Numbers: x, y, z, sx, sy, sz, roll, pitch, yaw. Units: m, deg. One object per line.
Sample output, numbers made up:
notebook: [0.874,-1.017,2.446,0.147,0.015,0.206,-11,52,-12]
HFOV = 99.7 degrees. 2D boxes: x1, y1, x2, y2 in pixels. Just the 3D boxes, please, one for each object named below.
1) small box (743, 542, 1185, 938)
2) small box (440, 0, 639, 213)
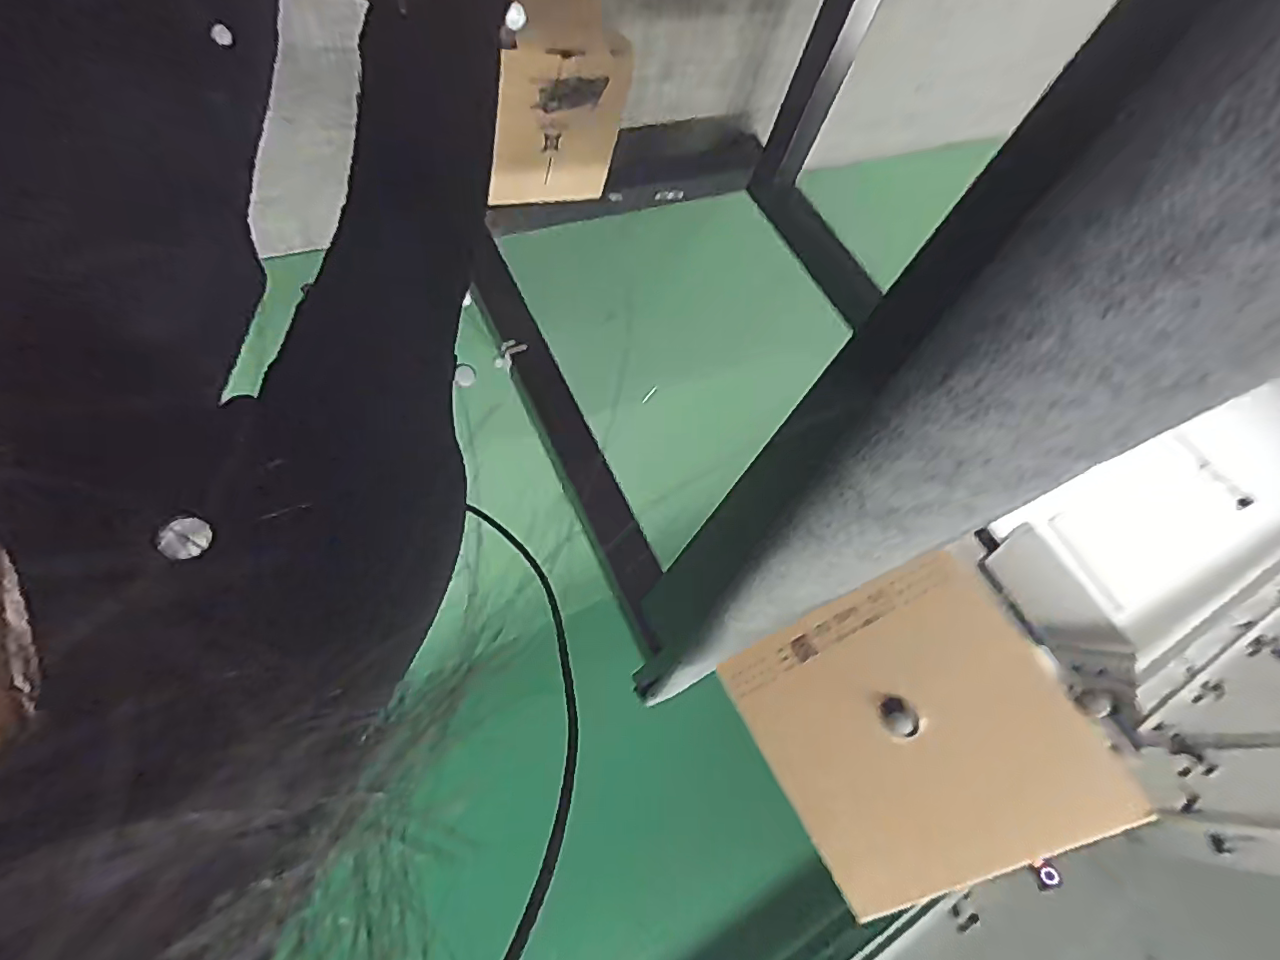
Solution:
small box: [0.198,0.154,0.381,0.168,0.176,0.179,-38,159,19]
small box: [-0.127,-0.450,0.636,0.168,0.176,0.179,-18,159,-26]
